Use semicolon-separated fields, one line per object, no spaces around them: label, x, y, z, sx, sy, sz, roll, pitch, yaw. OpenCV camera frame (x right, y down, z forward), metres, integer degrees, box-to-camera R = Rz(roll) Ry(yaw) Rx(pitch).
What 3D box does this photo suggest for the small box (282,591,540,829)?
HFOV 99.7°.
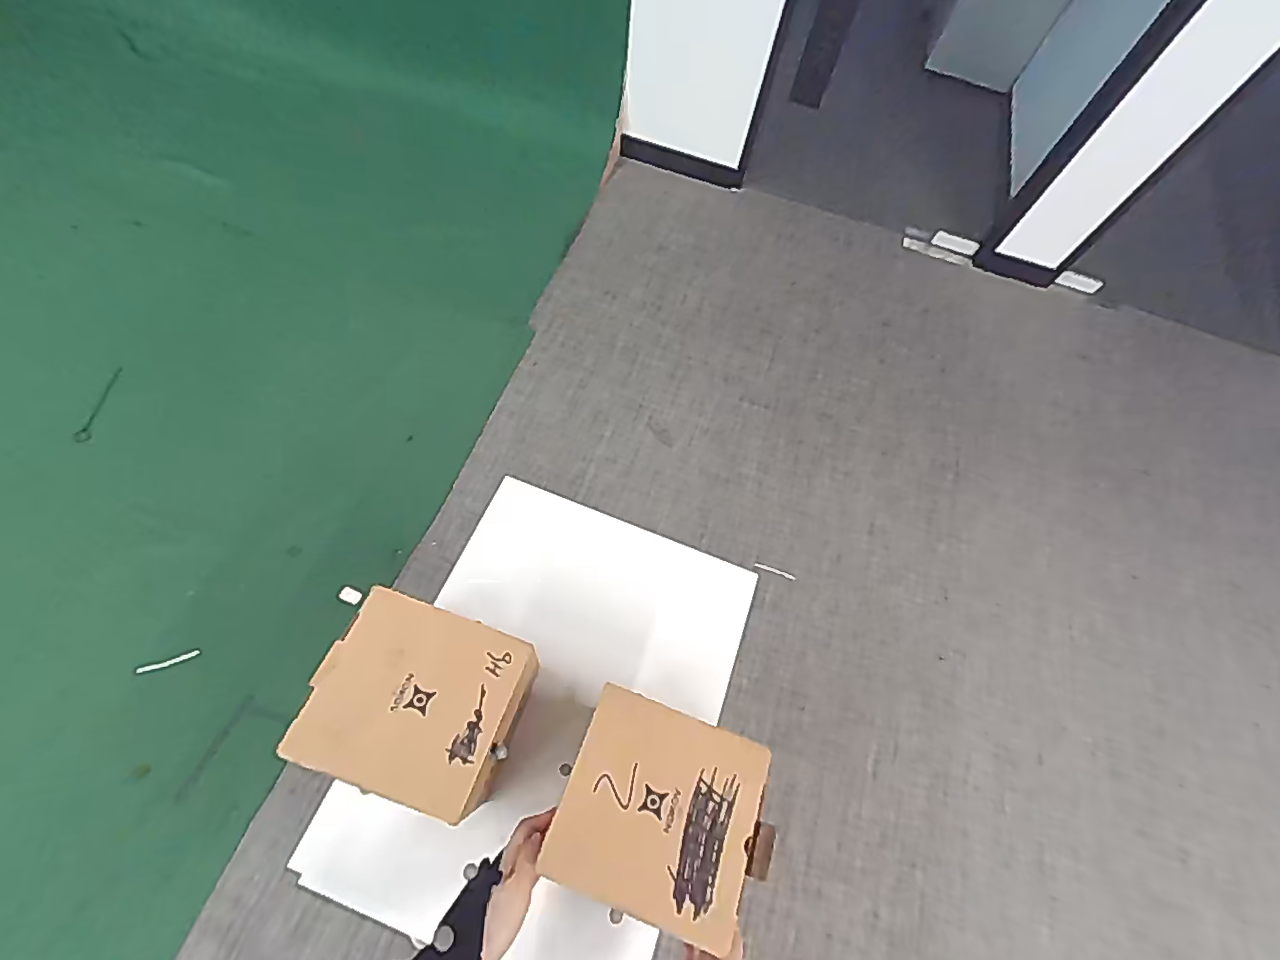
small box;-0.221;0.244;0.580;0.179;0.176;0.168;21;63;3
